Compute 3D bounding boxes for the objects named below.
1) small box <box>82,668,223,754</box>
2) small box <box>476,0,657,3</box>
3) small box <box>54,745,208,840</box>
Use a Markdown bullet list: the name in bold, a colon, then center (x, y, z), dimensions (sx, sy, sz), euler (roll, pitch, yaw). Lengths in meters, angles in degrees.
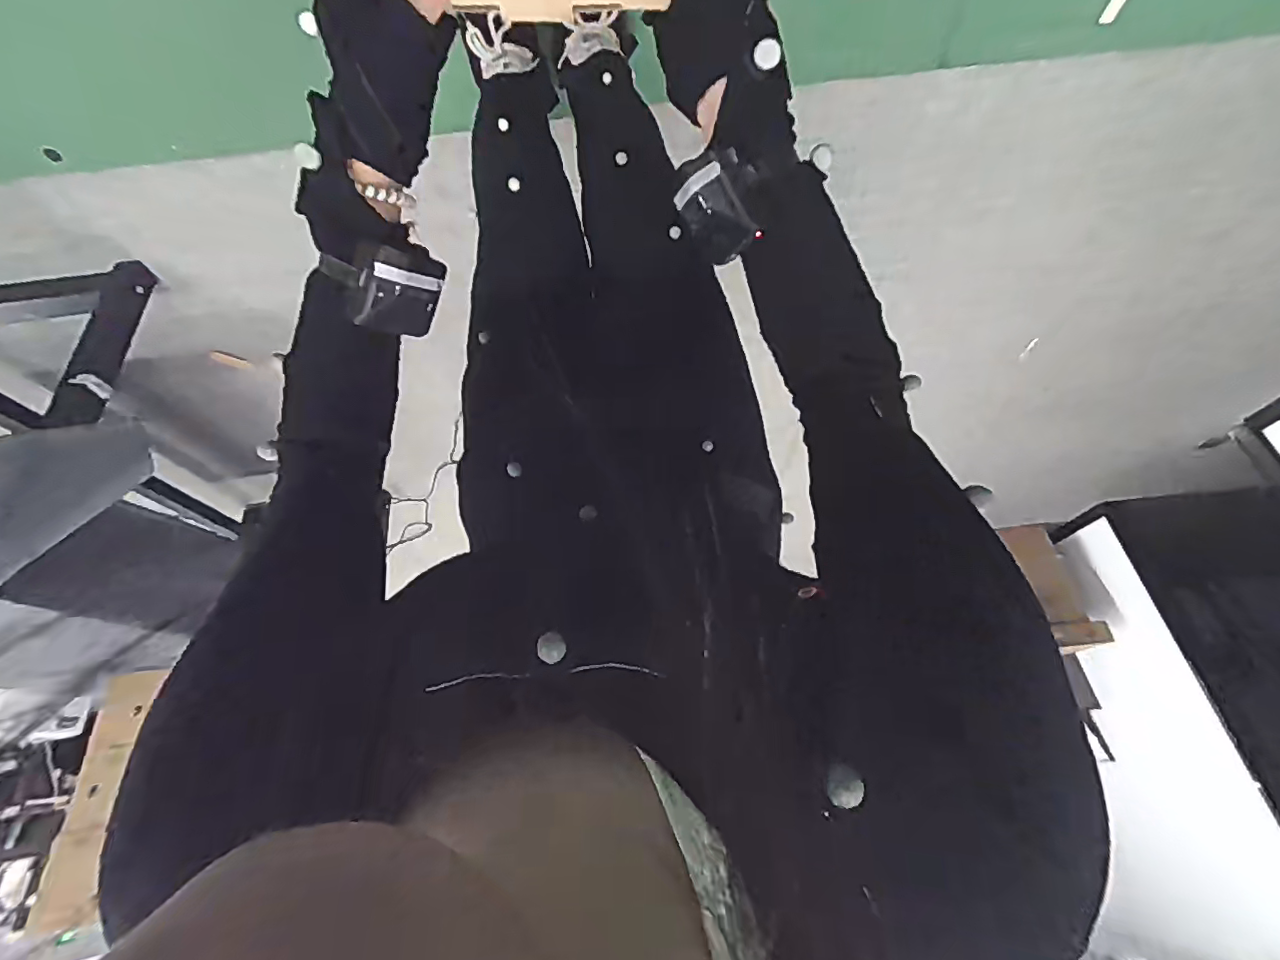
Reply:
- **small box**: center (-1.173, 0.566, 1.319), dimensions (0.179, 0.176, 0.168), euler (-7, 153, -1)
- **small box**: center (-0.064, -0.409, 0.306), dimensions (0.168, 0.176, 0.179), euler (0, 144, 0)
- **small box**: center (-1.158, 0.712, 1.247), dimensions (0.168, 0.176, 0.179), euler (-7, 153, 1)
